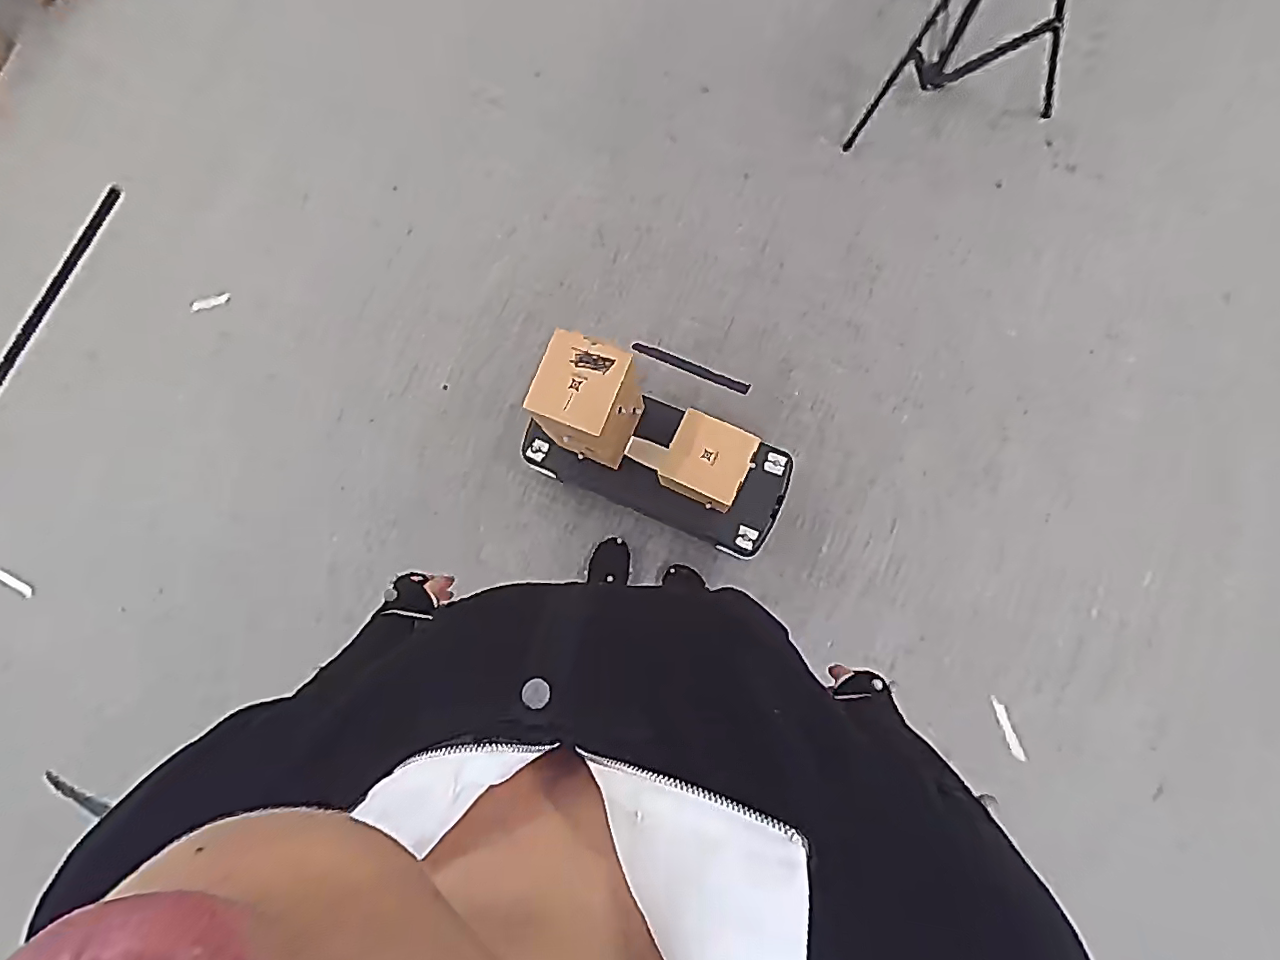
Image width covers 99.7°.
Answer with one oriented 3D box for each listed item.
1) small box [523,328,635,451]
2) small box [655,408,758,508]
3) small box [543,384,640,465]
[{"bbox_3d":[-0.116,-0.179,1.117,0.168,0.176,0.179,22,84,6],"label":"small box"},{"bbox_3d":[0.152,-0.041,1.248,0.179,0.176,0.168,25,84,9],"label":"small box"},{"bbox_3d":[-0.106,-0.151,1.278,0.168,0.176,0.179,23,84,7],"label":"small box"}]
